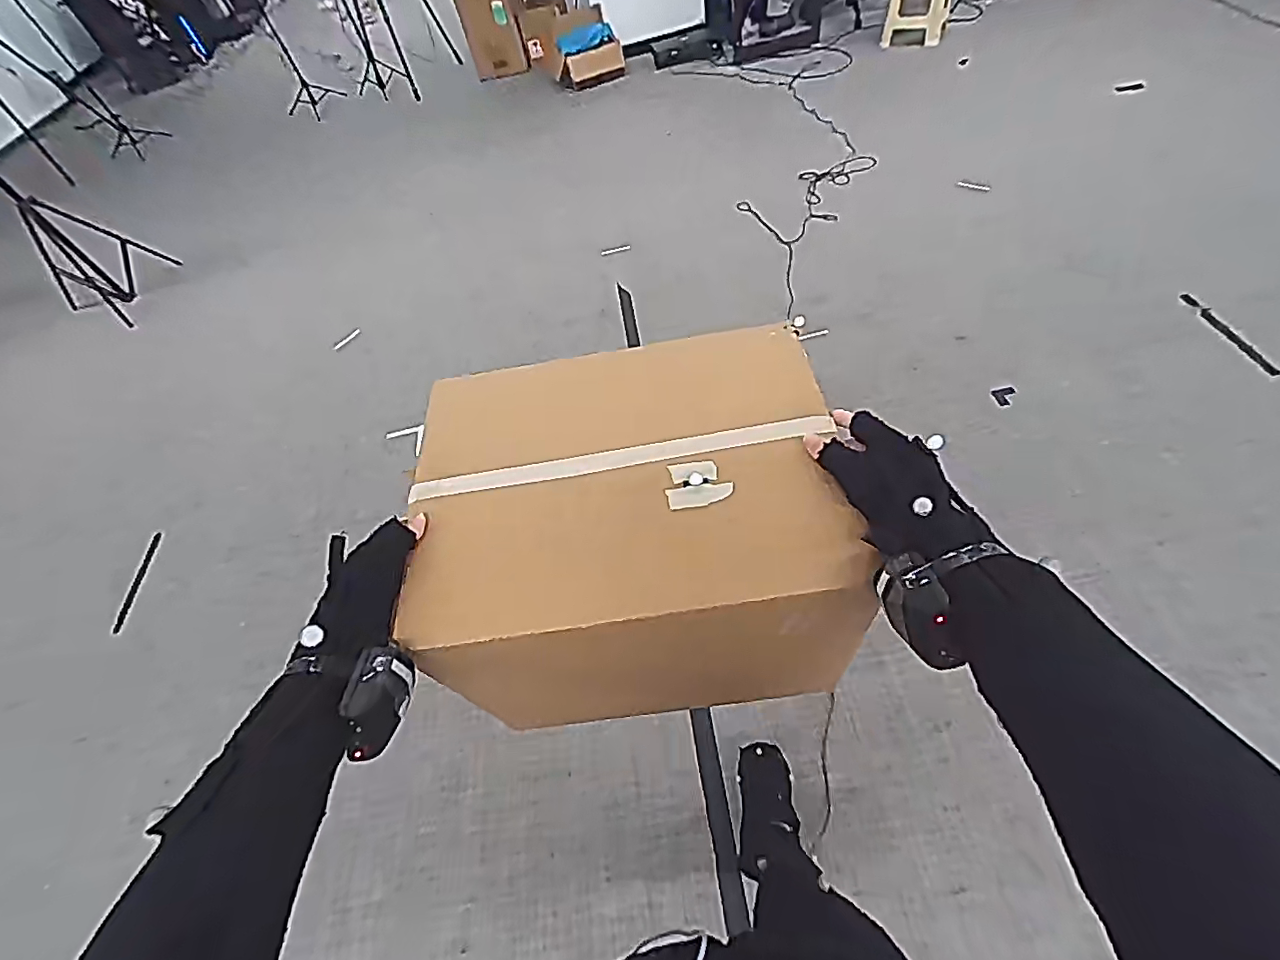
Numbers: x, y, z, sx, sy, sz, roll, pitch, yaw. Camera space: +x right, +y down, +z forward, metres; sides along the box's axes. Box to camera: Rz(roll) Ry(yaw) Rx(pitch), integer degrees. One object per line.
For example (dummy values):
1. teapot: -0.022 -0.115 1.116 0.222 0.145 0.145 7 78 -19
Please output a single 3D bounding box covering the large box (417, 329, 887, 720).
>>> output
1. large box: 0.008 0.068 0.650 0.408 0.320 0.320 -9 54 2
